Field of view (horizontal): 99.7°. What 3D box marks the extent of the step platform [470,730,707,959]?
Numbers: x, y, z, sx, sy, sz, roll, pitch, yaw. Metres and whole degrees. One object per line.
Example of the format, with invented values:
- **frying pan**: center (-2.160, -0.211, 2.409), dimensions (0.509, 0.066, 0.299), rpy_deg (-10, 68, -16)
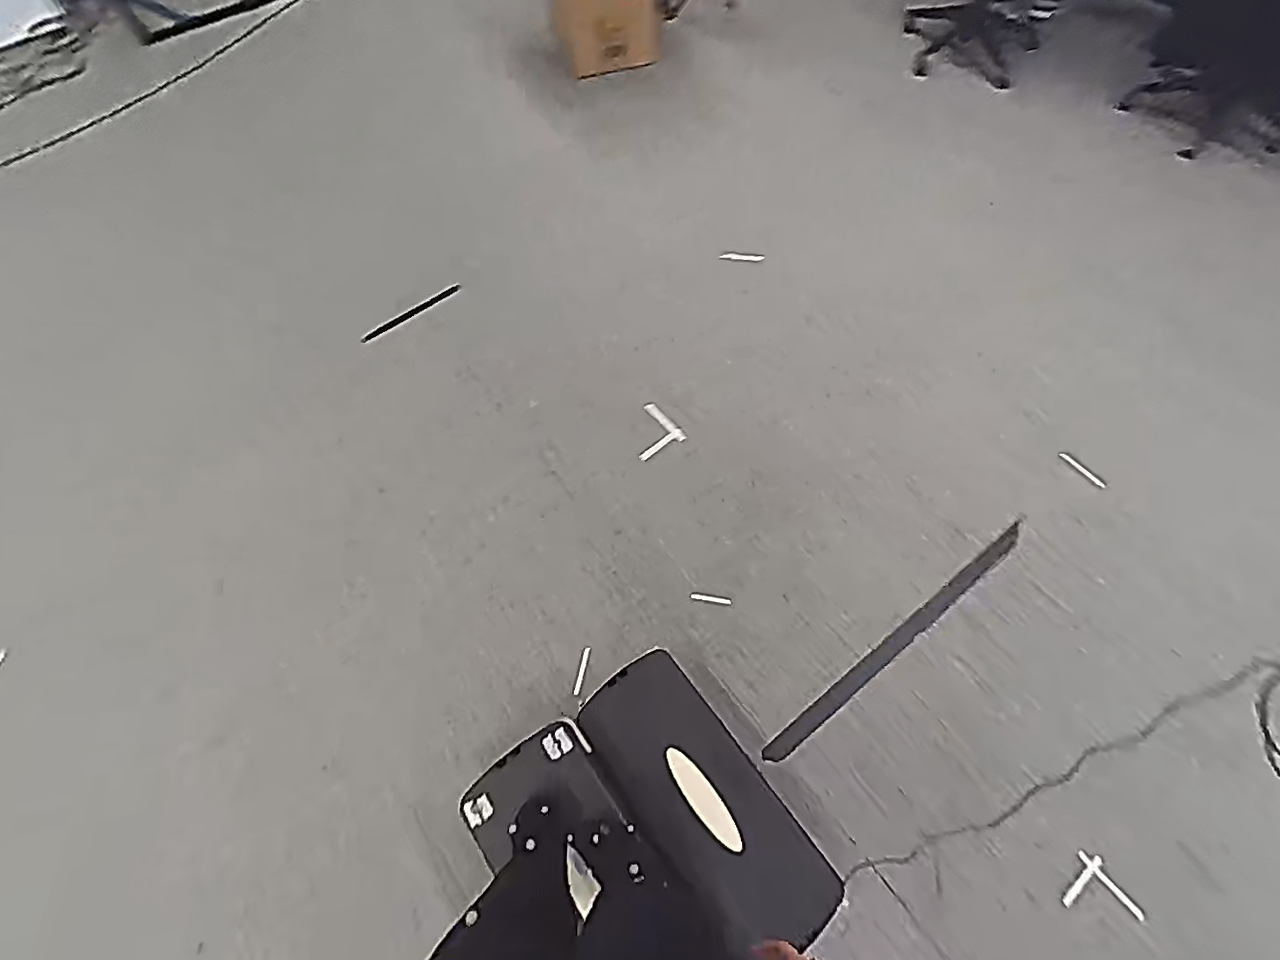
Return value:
- **step platform**: center (-0.082, 0.893, 1.121), dimensions (0.286, 0.204, 0.684), rpy_deg (-31, 65, -14)
